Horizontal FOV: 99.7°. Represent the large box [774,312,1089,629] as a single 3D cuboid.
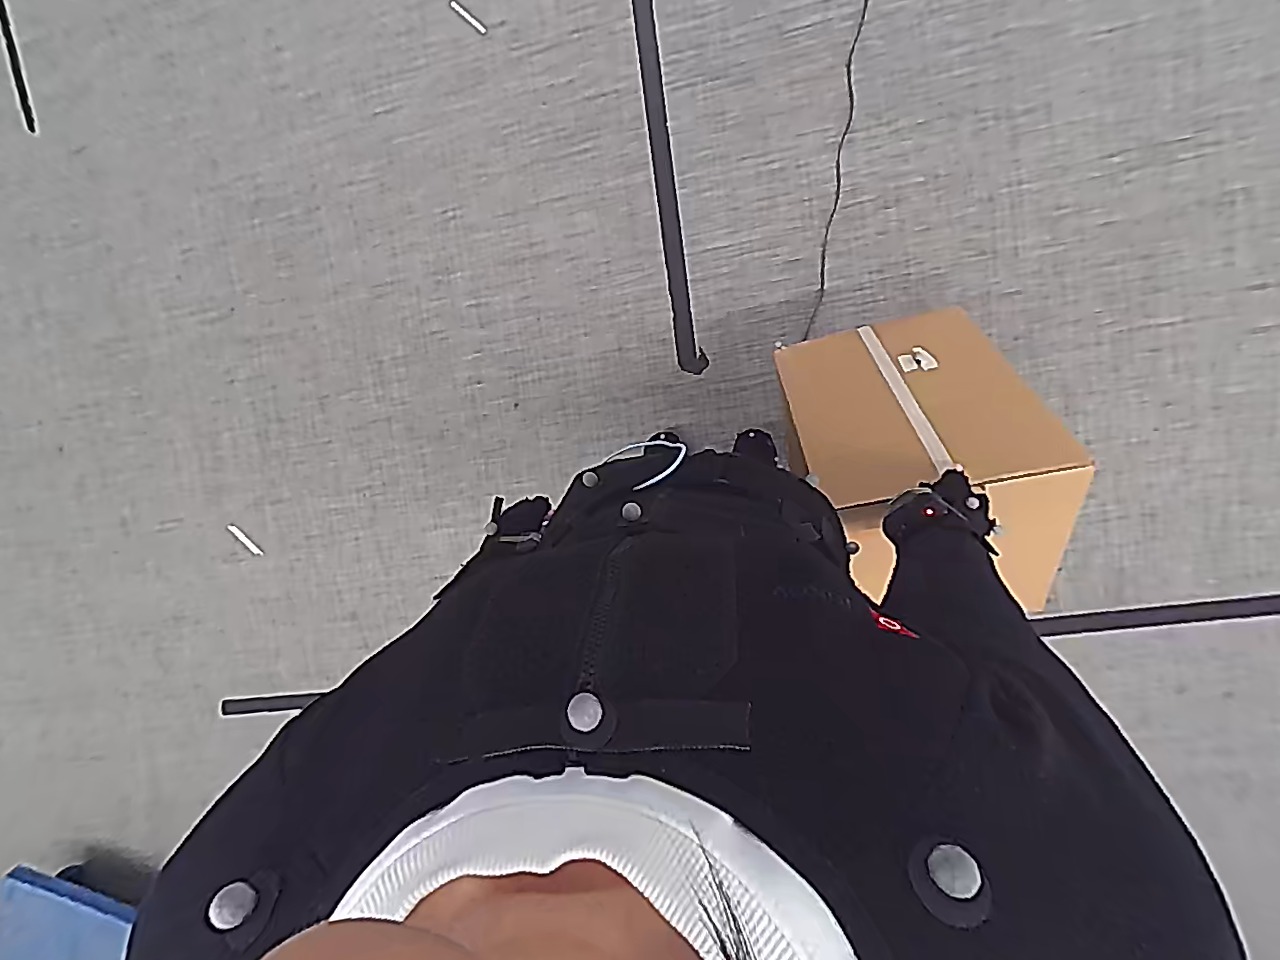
[{"bbox_3d":[0.435,-0.020,0.911,0.320,0.408,0.320,-11,131,11],"label":"large box"}]
